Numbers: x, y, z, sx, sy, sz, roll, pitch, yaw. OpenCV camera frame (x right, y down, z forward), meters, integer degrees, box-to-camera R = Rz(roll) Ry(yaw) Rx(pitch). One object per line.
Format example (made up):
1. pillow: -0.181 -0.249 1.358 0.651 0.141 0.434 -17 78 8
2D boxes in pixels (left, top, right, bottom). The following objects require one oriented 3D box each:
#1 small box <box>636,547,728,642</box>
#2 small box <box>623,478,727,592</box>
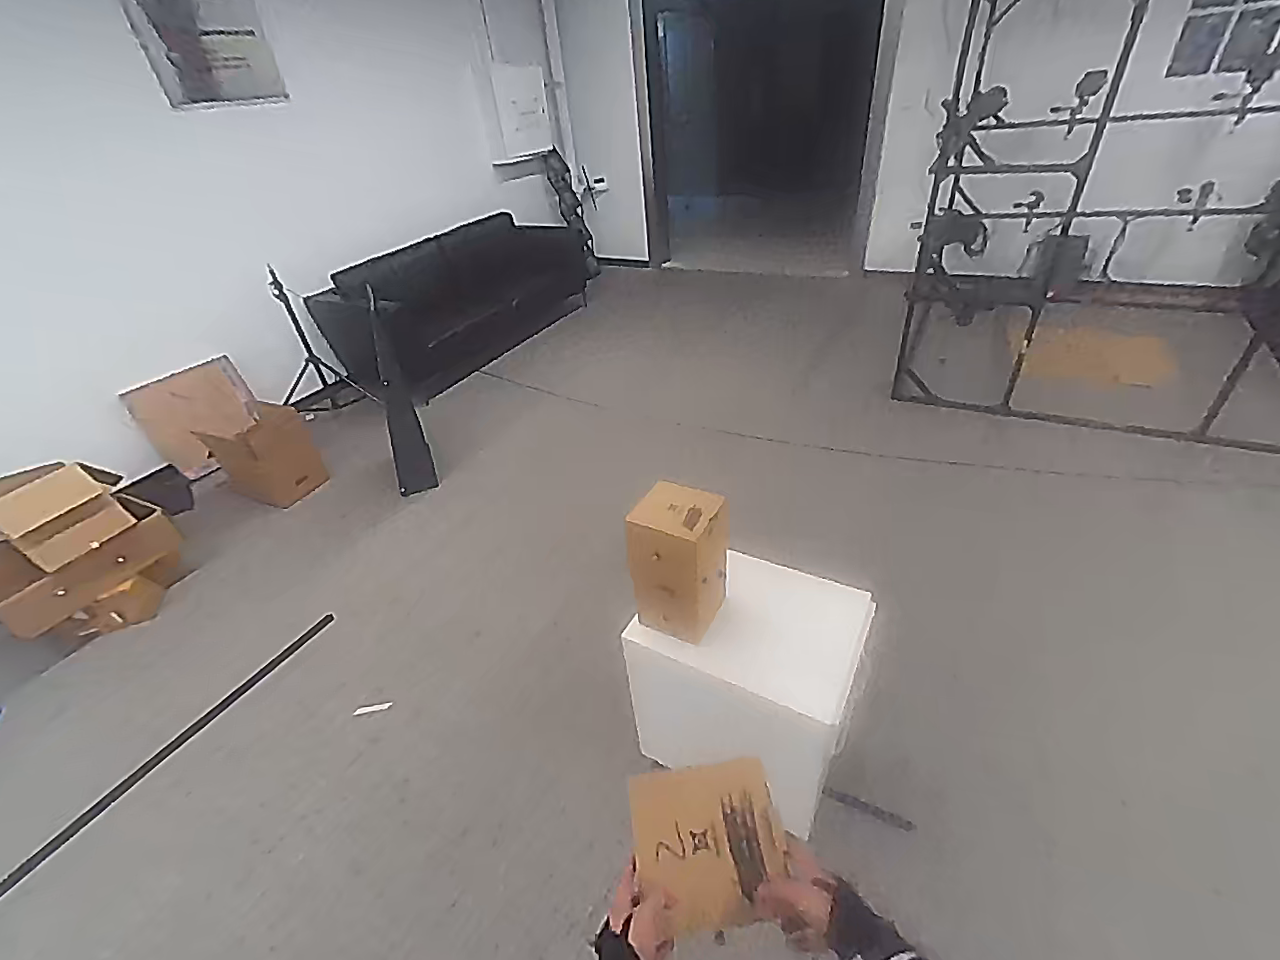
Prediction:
1. small box: 0.105 0.255 1.312 0.168 0.176 0.179 14 41 26
2. small box: 0.085 0.125 1.212 0.179 0.176 0.168 14 40 27
